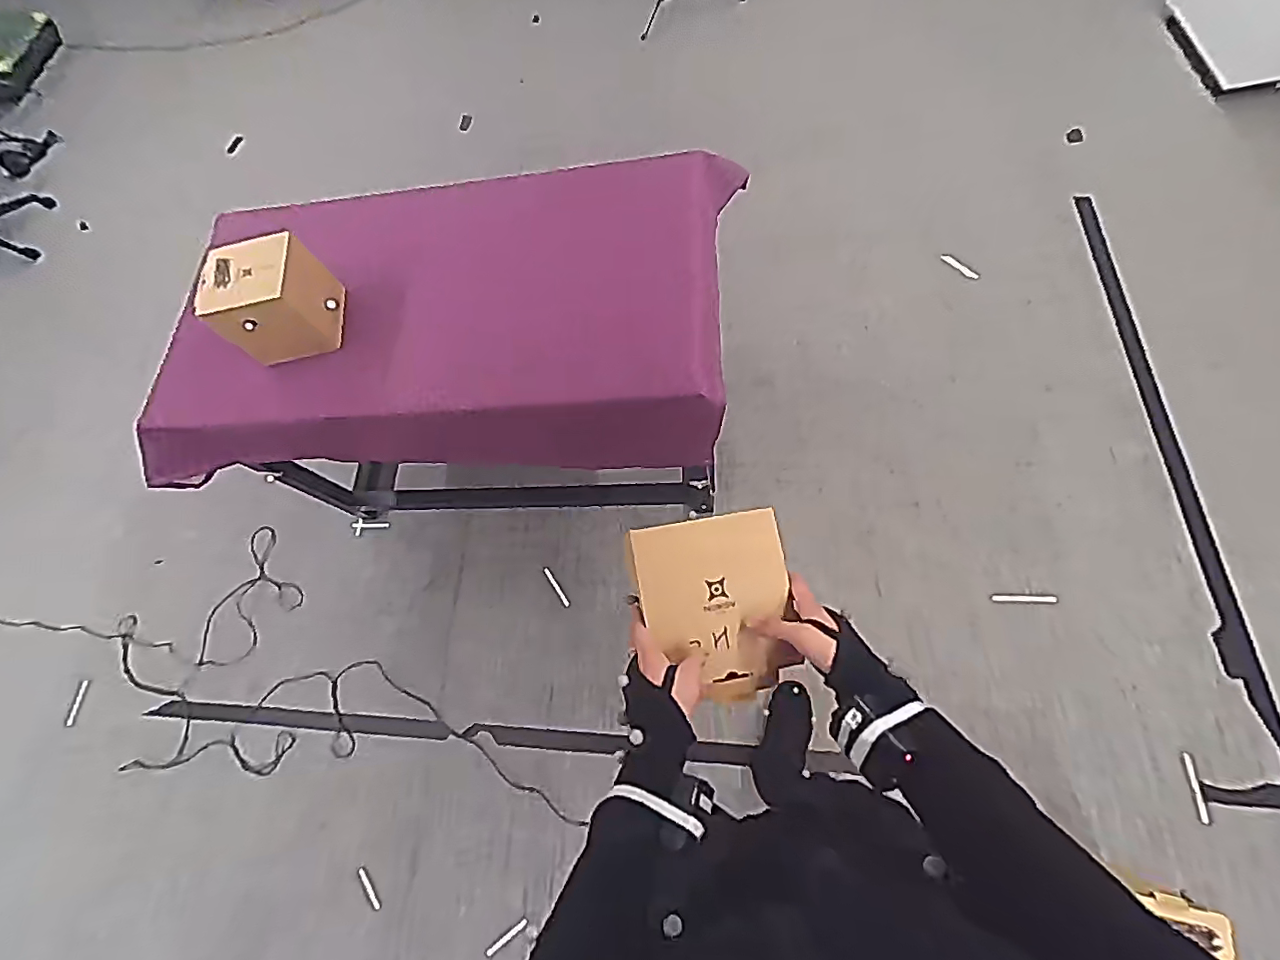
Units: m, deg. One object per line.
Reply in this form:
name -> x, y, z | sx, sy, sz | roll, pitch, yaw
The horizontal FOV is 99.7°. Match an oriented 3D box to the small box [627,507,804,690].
small box -> 0.078, 0.139, 0.666 | 0.168, 0.176, 0.179 | -9, 82, -5

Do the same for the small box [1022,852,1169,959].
small box -> 0.912, 0.883, 1.101 | 0.179, 0.176, 0.168 | 2, 69, 11

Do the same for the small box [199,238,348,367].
small box -> -0.736, -0.352, 1.103 | 0.179, 0.176, 0.168 | -11, 67, 5
